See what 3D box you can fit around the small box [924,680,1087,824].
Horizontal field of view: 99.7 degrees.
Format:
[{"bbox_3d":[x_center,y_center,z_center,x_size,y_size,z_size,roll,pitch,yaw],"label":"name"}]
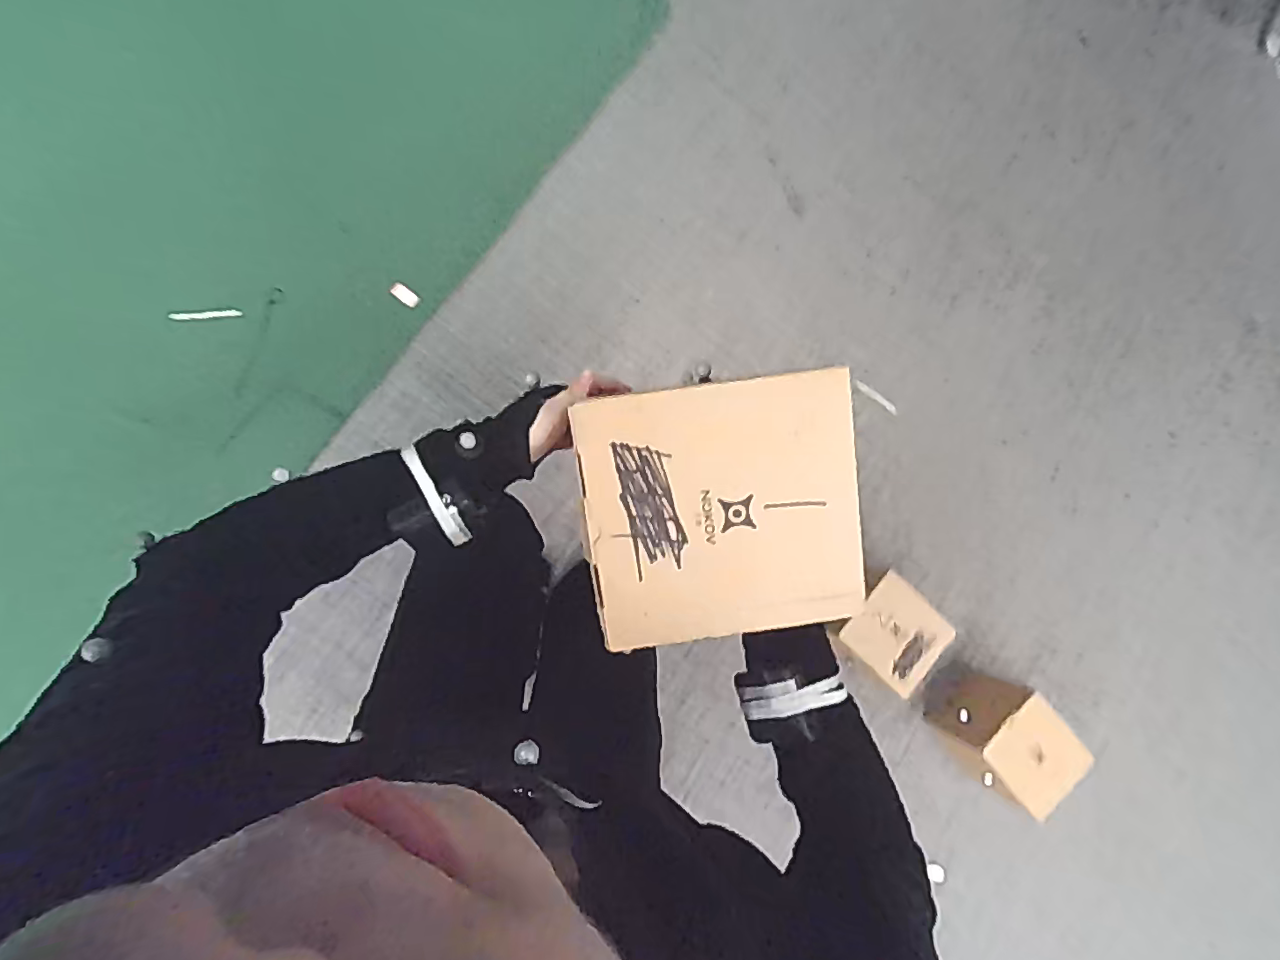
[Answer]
[{"bbox_3d":[0.721,0.530,1.089,0.168,0.176,0.179,-39,91,-8],"label":"small box"}]
